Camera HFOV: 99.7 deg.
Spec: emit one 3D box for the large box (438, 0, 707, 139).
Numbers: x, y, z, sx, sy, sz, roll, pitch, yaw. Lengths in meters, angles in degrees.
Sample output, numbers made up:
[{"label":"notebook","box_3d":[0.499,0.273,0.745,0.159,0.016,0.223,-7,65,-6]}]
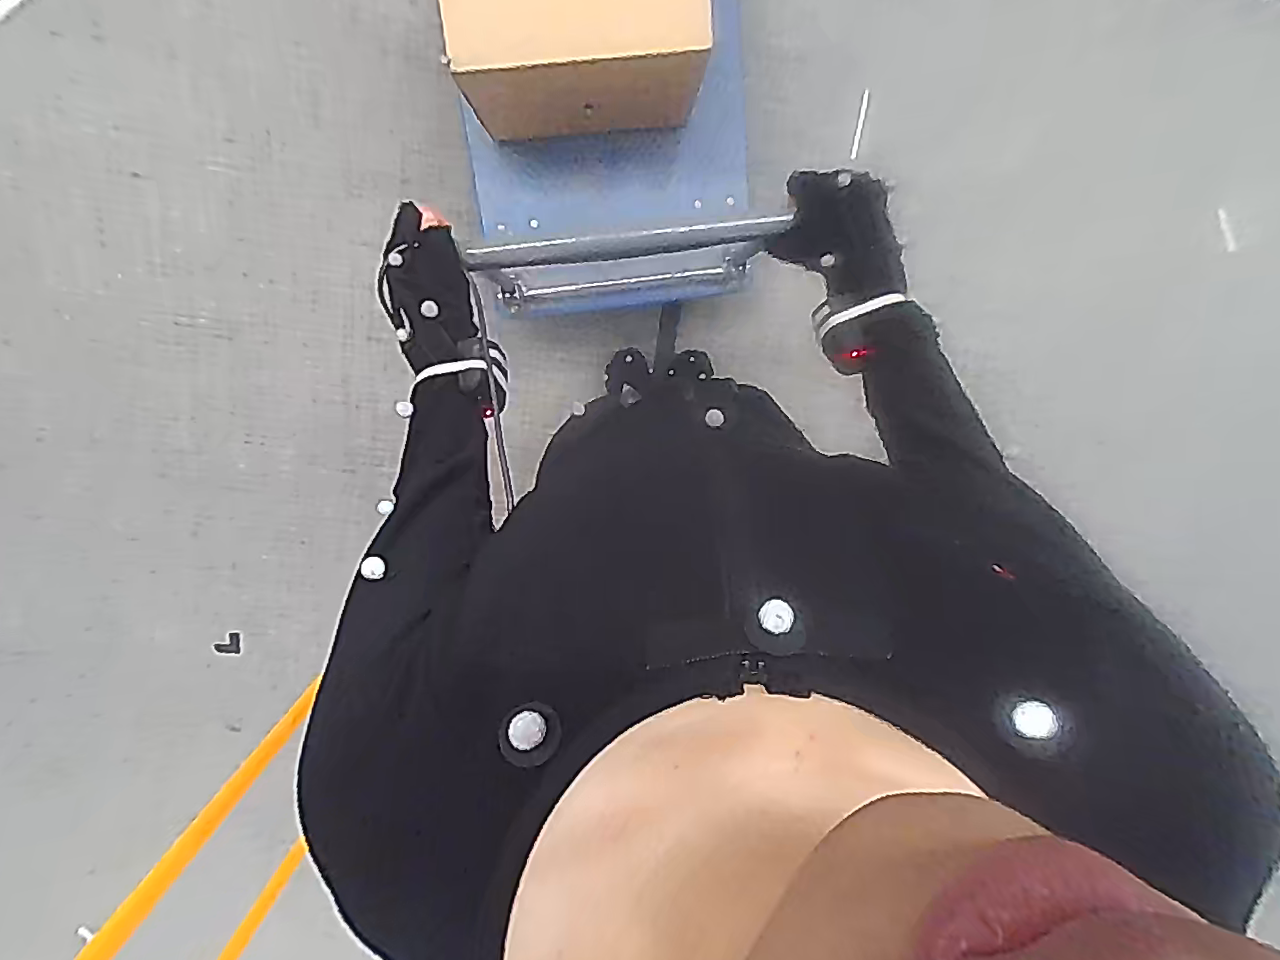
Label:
[{"label":"large box","box_3d":[-0.113,-0.825,0.933,0.408,0.320,0.320,-6,105,-1]}]
